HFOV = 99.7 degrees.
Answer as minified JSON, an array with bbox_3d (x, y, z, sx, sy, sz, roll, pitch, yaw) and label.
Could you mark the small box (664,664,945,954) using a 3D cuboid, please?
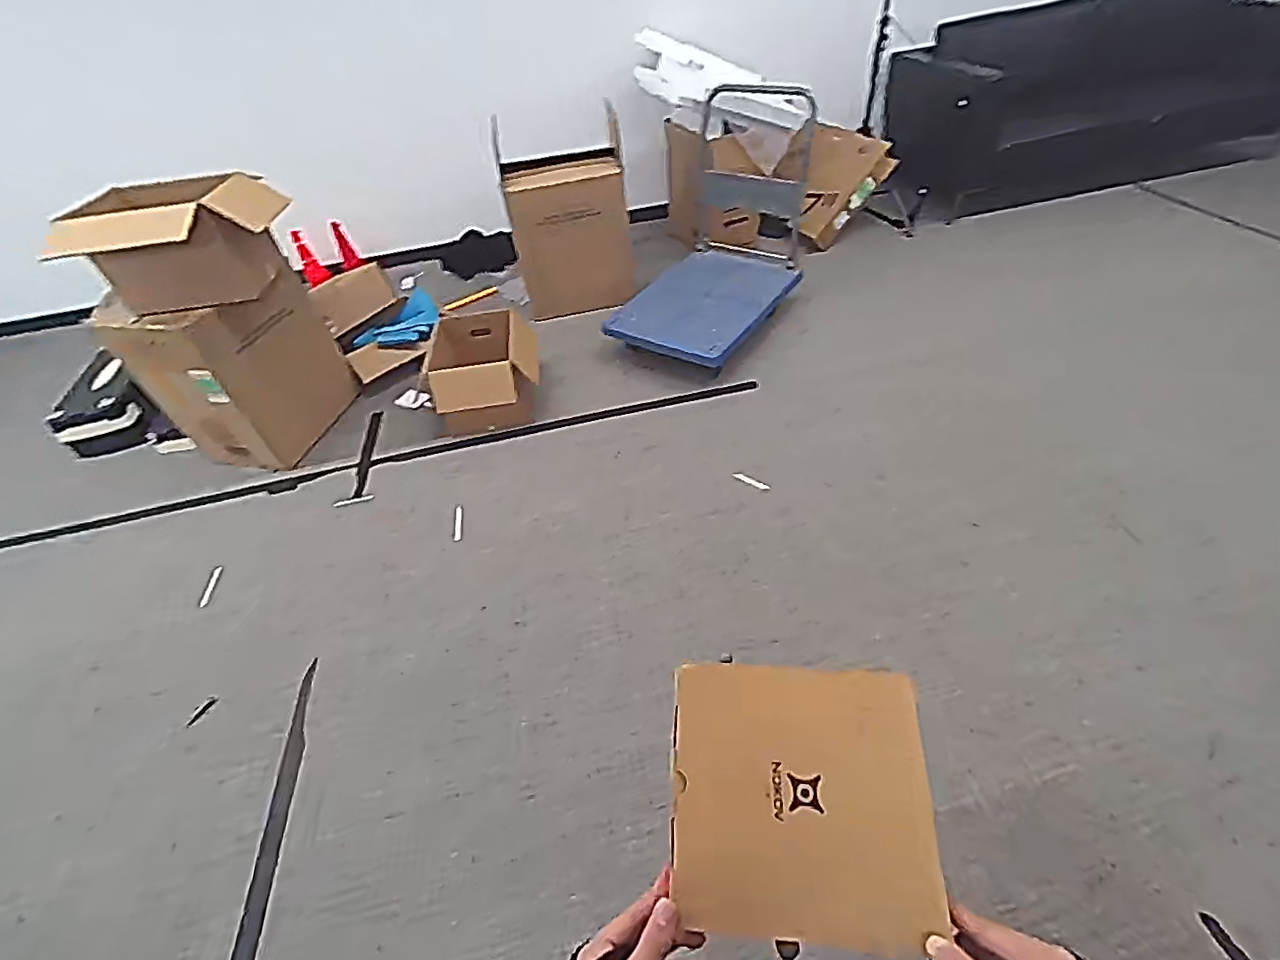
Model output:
[{"bbox_3d":[0.115,0.252,0.445,0.179,0.176,0.168,0,63,7],"label":"small box"}]
